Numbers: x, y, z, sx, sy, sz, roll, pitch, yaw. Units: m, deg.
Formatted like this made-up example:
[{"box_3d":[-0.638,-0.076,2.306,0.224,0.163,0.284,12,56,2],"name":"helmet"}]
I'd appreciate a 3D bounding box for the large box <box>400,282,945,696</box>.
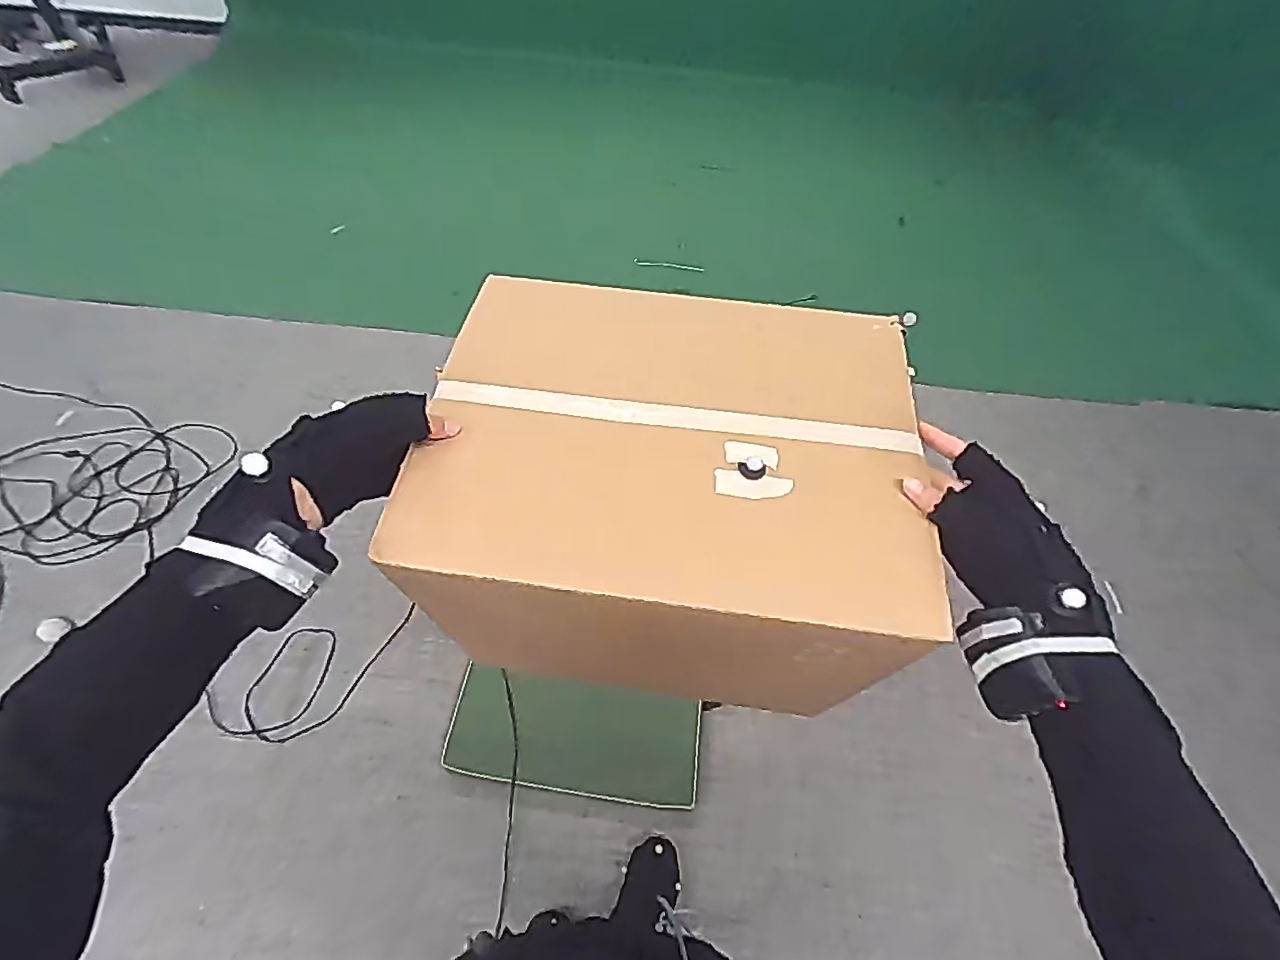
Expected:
[{"box_3d":[0.031,0.025,0.589,0.408,0.320,0.320,7,59,3],"name":"large box"}]
